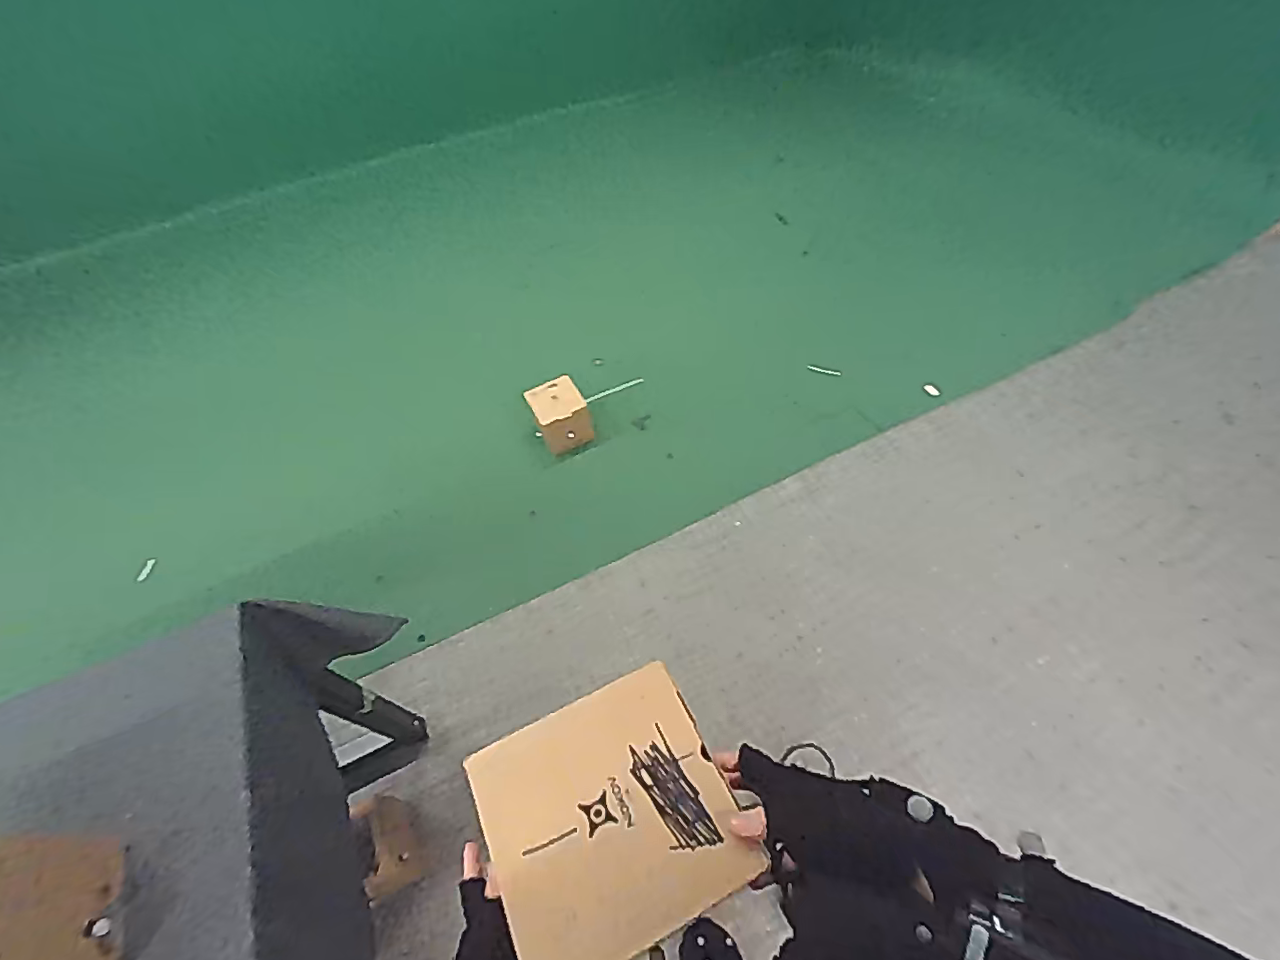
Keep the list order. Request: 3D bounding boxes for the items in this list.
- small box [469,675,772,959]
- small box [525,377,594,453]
[{"bbox_3d":[-0.020,0.297,0.452,0.179,0.176,0.168,-21,54,-14],"label":"small box"},{"bbox_3d":[-0.274,-0.216,1.872,0.168,0.176,0.179,-25,57,-12],"label":"small box"}]
